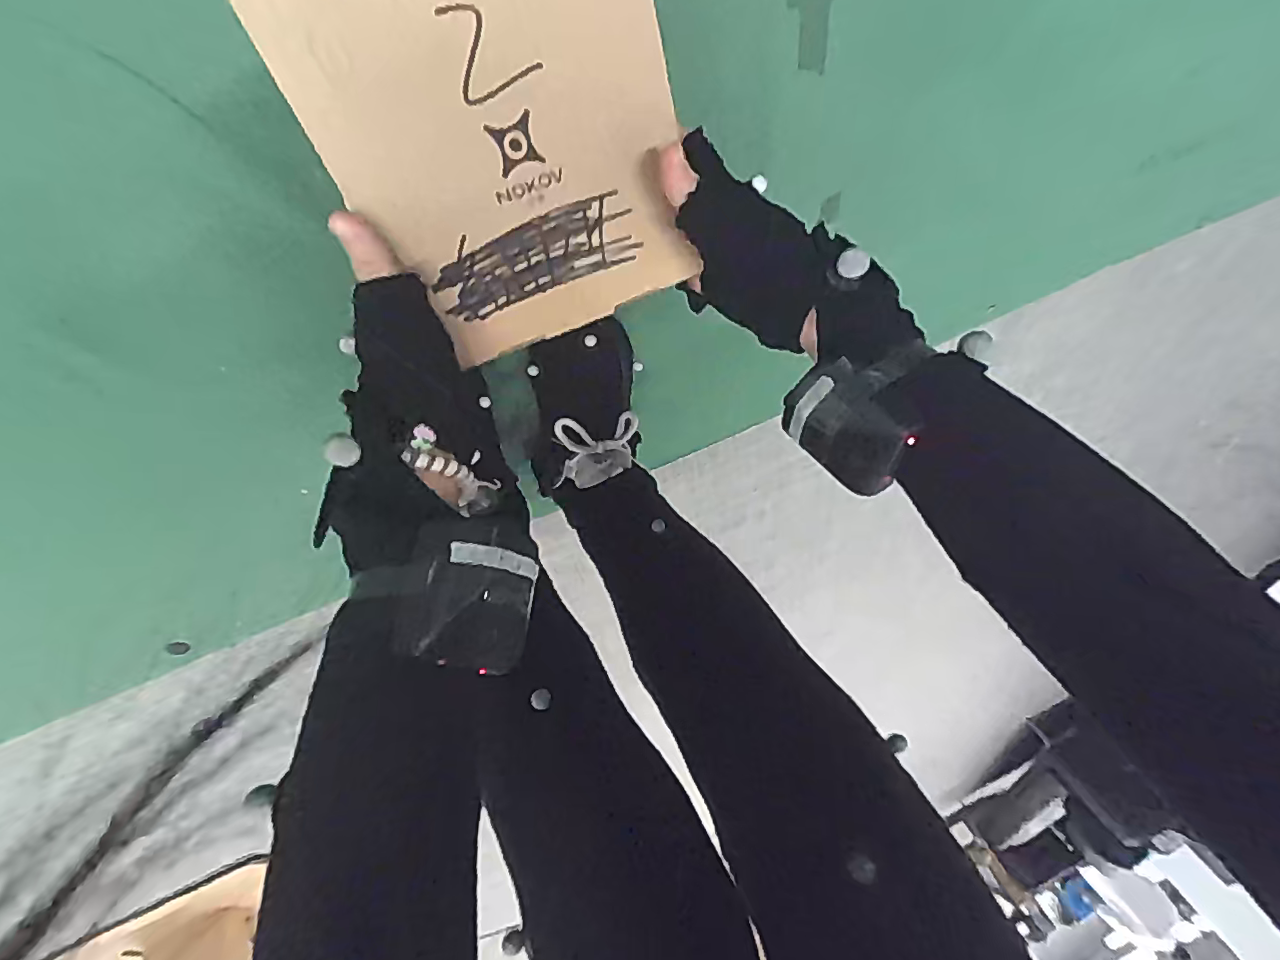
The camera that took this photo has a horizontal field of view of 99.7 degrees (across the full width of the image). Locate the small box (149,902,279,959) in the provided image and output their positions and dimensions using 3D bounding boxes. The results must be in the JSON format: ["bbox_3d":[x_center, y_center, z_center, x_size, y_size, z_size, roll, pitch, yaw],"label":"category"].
[{"bbox_3d":[-0.895,1.026,1.130,0.179,0.176,0.168,-23,137,-7],"label":"small box"}]
